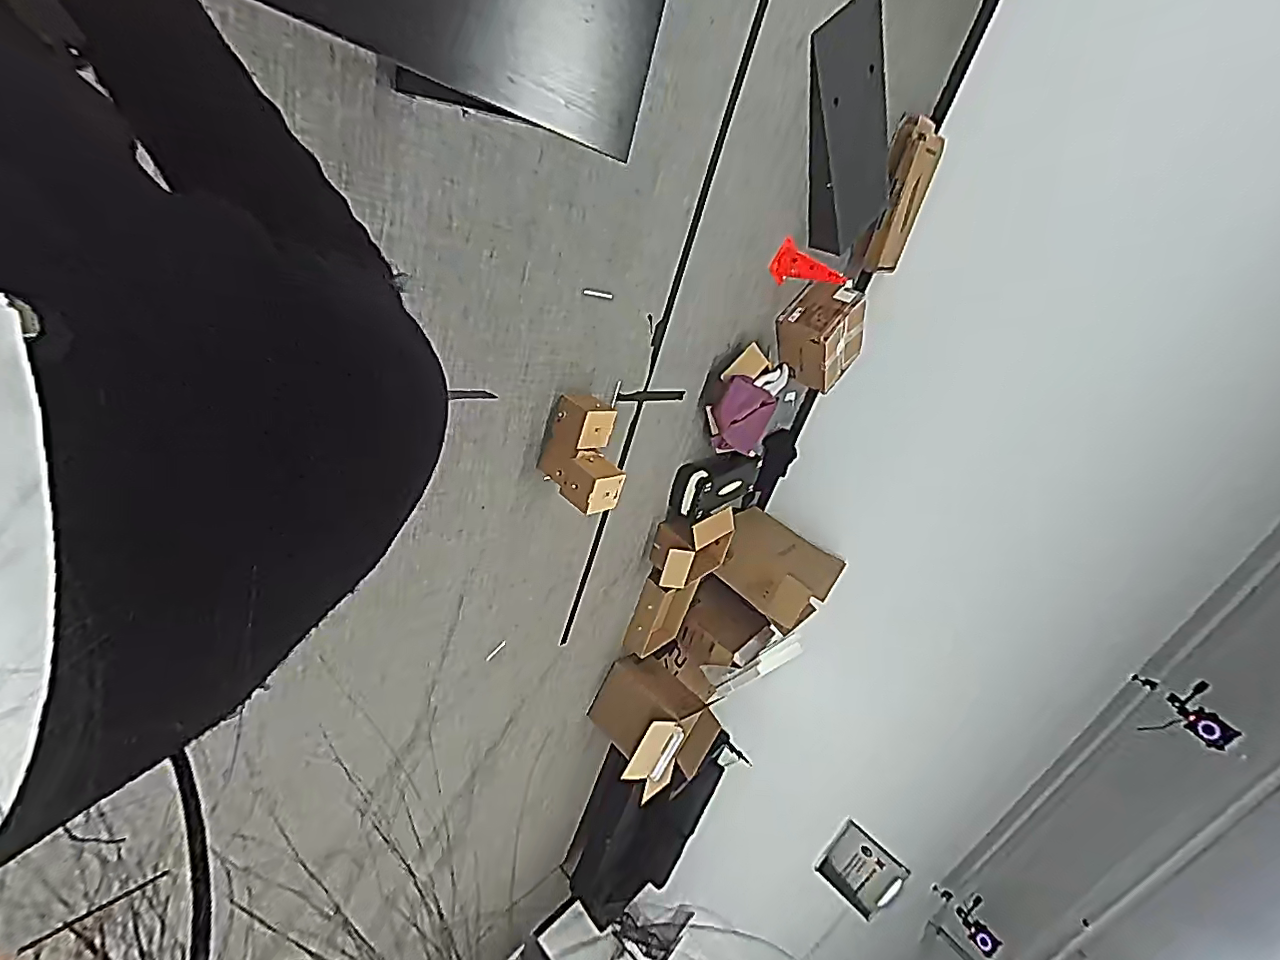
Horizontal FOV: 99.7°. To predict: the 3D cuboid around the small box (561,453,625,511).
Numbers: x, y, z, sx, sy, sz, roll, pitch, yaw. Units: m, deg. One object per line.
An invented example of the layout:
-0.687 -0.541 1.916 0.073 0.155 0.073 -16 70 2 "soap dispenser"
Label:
-0.194 0.005 2.181 0.179 0.176 0.168 -11 128 -48 "small box"
